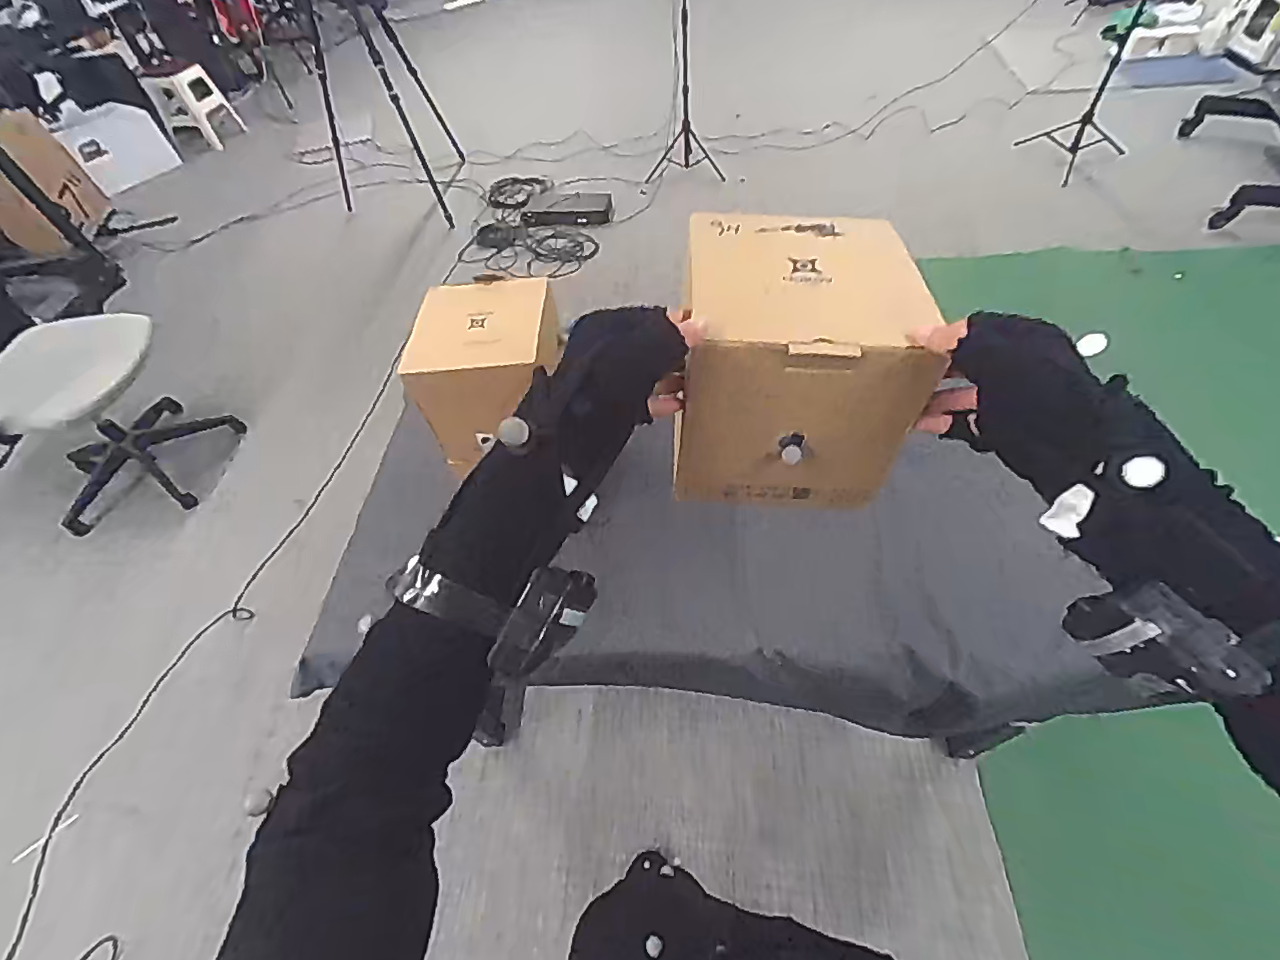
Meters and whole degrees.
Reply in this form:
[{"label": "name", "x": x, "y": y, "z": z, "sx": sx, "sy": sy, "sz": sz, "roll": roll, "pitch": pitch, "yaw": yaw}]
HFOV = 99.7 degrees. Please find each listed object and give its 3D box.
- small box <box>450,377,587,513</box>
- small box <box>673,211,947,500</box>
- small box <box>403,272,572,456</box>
[{"label": "small box", "x": -0.180, "y": -0.057, "z": 0.866, "sx": 0.168, "sy": 0.176, "sz": 0.179, "roll": -3, "pitch": 52, "yaw": 3}, {"label": "small box", "x": 0.116, "y": -0.099, "z": 0.452, "sx": 0.168, "sy": 0.176, "sz": 0.179, "roll": 3, "pitch": 52, "yaw": 1}, {"label": "small box", "x": -0.190, "y": -0.154, "z": 0.737, "sx": 0.168, "sy": 0.176, "sz": 0.179, "roll": -4, "pitch": 54, "yaw": 4}]
